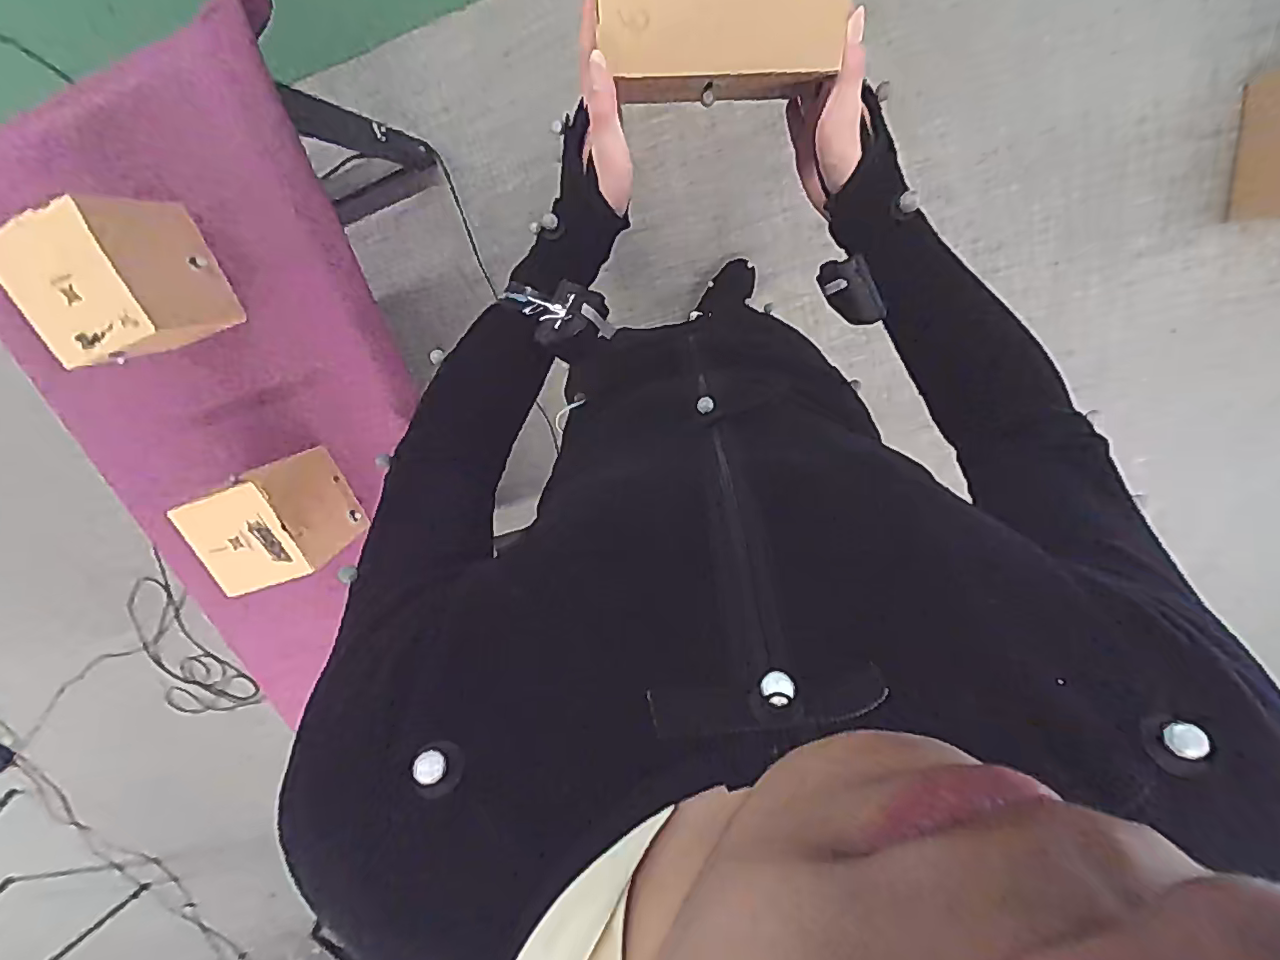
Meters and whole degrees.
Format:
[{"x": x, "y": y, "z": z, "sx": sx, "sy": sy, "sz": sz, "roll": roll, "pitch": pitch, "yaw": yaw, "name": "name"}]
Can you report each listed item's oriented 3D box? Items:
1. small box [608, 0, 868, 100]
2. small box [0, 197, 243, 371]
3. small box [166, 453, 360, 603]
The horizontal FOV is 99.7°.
[{"x": 0.068, "y": -0.397, "z": 0.410, "sx": 0.179, "sy": 0.176, "sz": 0.168, "roll": 0, "pitch": 120, "yaw": 1, "name": "small box"}, {"x": -0.728, "y": -0.273, "z": 0.764, "sx": 0.168, "sy": 0.176, "sz": 0.179, "roll": -15, "pitch": 110, "yaw": 11, "name": "small box"}, {"x": -0.602, "y": 0.072, "z": 0.897, "sx": 0.179, "sy": 0.176, "sz": 0.168, "roll": -17, "pitch": 110, "yaw": 12, "name": "small box"}]
